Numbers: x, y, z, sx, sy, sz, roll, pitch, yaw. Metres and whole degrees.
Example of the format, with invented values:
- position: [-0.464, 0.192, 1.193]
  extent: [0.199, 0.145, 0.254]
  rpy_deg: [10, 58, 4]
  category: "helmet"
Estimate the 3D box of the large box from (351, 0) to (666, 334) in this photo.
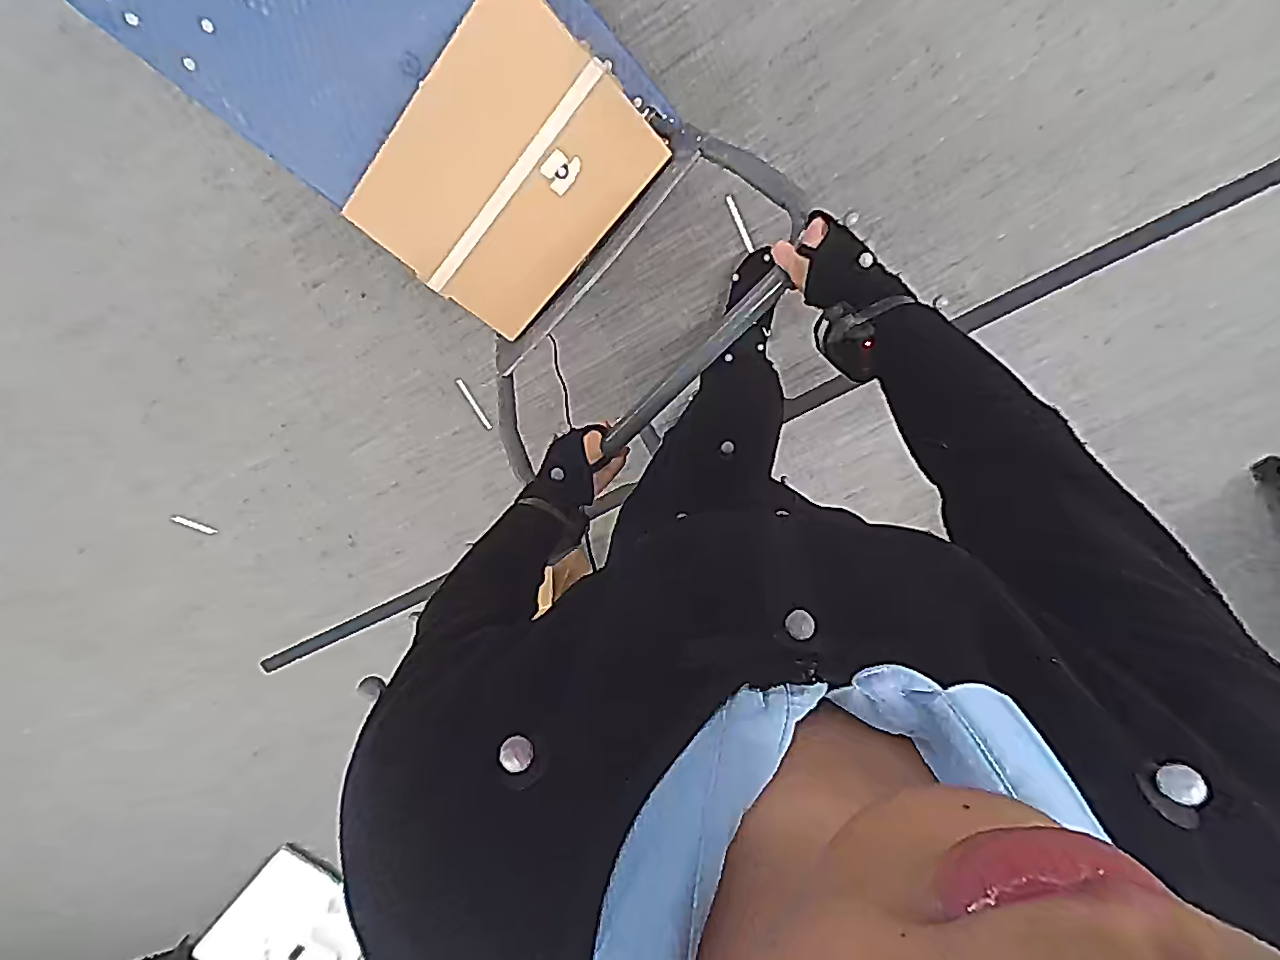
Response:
- position: [-0.225, -0.544, 0.941]
  extent: [0.320, 0.320, 0.408]
  rpy_deg: [34, 112, -32]
  category: "large box"
